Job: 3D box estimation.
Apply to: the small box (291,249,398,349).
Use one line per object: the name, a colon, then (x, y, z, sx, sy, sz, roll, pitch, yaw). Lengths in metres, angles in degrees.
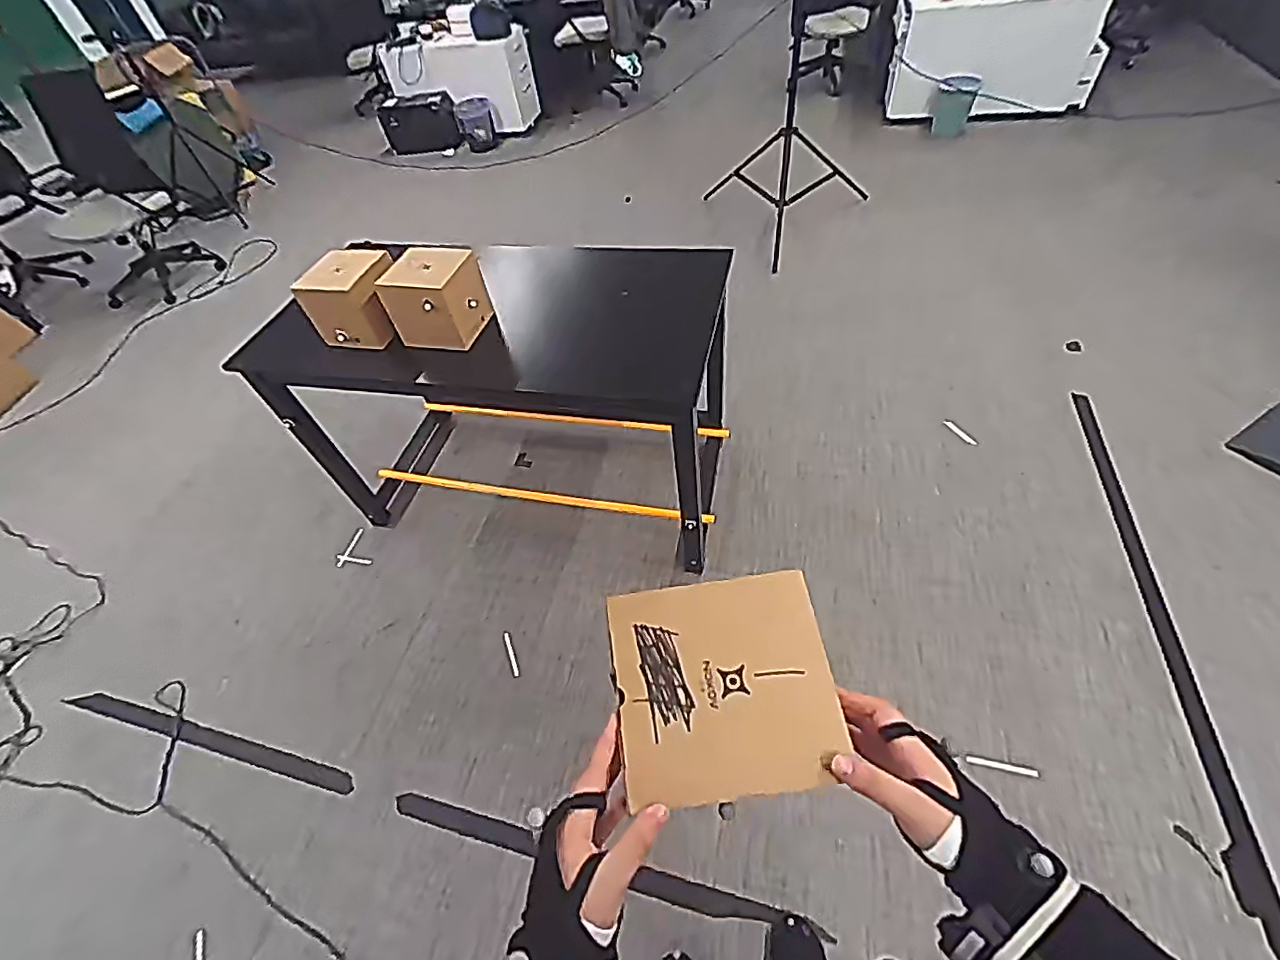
small box: (-0.694, -0.446, 1.330, 0.168, 0.176, 0.179, 6, 53, 14)

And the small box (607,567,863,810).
small box: (0.072, 0.195, 0.495, 0.179, 0.176, 0.168, -8, 62, -1)

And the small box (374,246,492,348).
small box: (-0.479, -0.433, 1.286, 0.179, 0.176, 0.168, 8, 52, 14)
